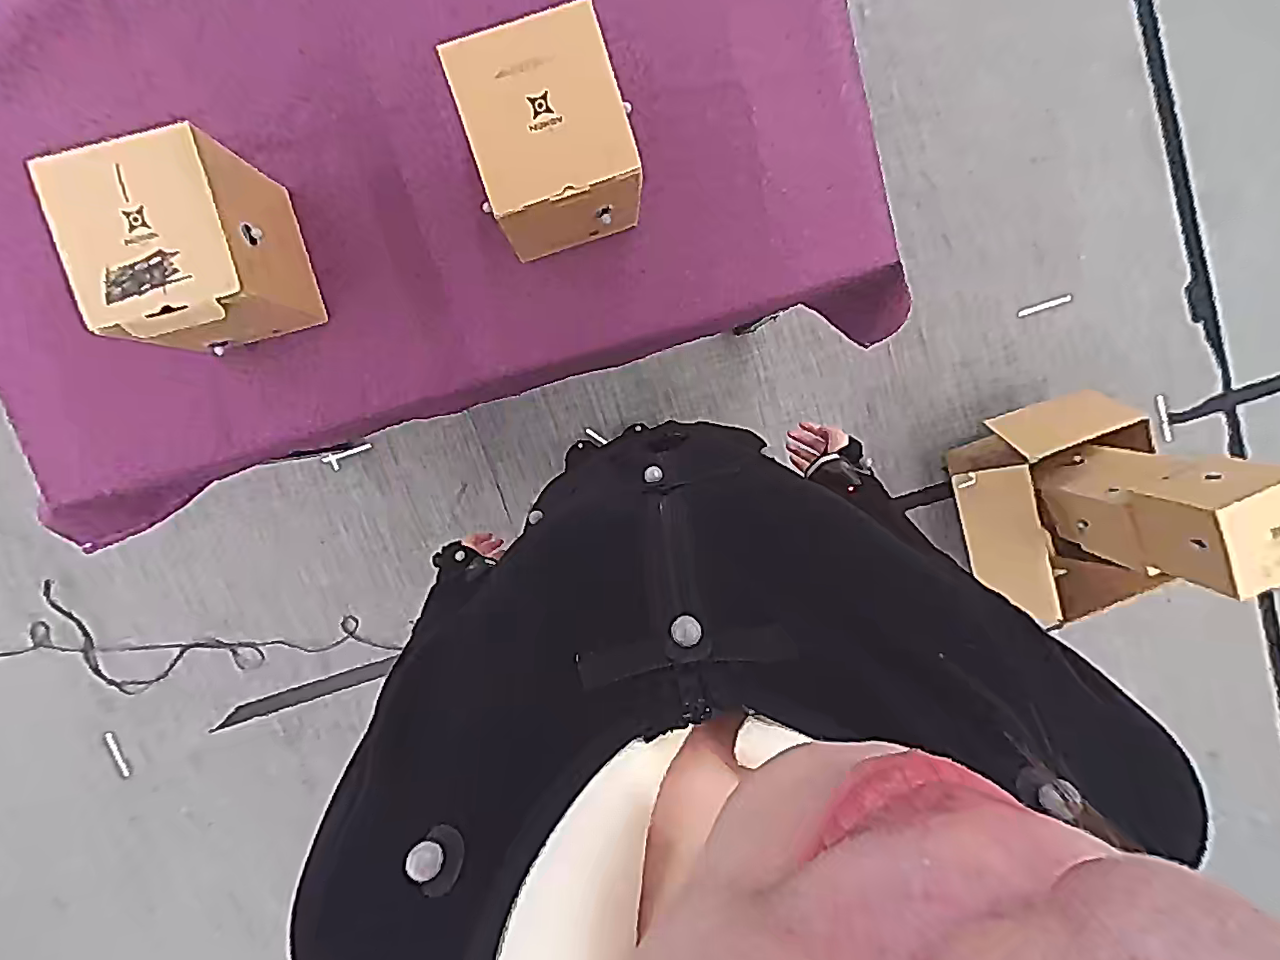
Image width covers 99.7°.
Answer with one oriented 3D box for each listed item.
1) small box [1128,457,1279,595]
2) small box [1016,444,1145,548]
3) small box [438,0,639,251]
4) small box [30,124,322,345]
[{"bbox_3d":[1.031,0.070,0.963,0.168,0.176,0.179,-25,101,5],"label":"small box"},{"bbox_3d":[1.055,0.028,1.290,0.168,0.176,0.179,-39,100,6],"label":"small box"},{"bbox_3d":[-0.105,-0.389,0.633,0.168,0.176,0.179,-18,97,-1],"label":"small box"},{"bbox_3d":[-0.509,-0.263,0.627,0.168,0.176,0.179,-15,96,-1],"label":"small box"}]
